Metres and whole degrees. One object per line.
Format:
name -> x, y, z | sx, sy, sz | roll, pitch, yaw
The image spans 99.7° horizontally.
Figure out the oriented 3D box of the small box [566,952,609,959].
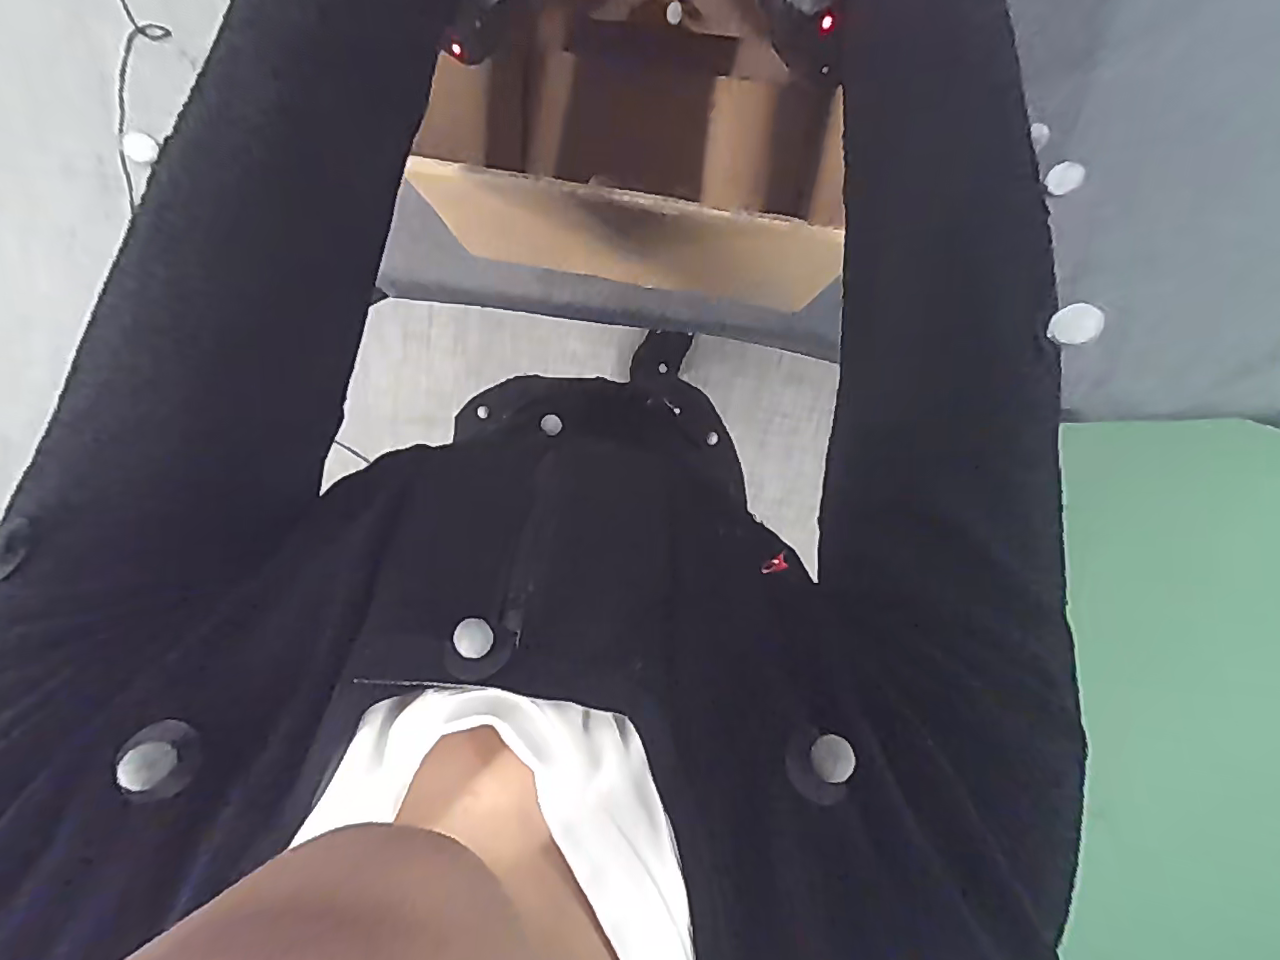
small box -> -0.177, 1.704, 1.776 | 0.179, 0.176, 0.168 | 8, 109, 3
